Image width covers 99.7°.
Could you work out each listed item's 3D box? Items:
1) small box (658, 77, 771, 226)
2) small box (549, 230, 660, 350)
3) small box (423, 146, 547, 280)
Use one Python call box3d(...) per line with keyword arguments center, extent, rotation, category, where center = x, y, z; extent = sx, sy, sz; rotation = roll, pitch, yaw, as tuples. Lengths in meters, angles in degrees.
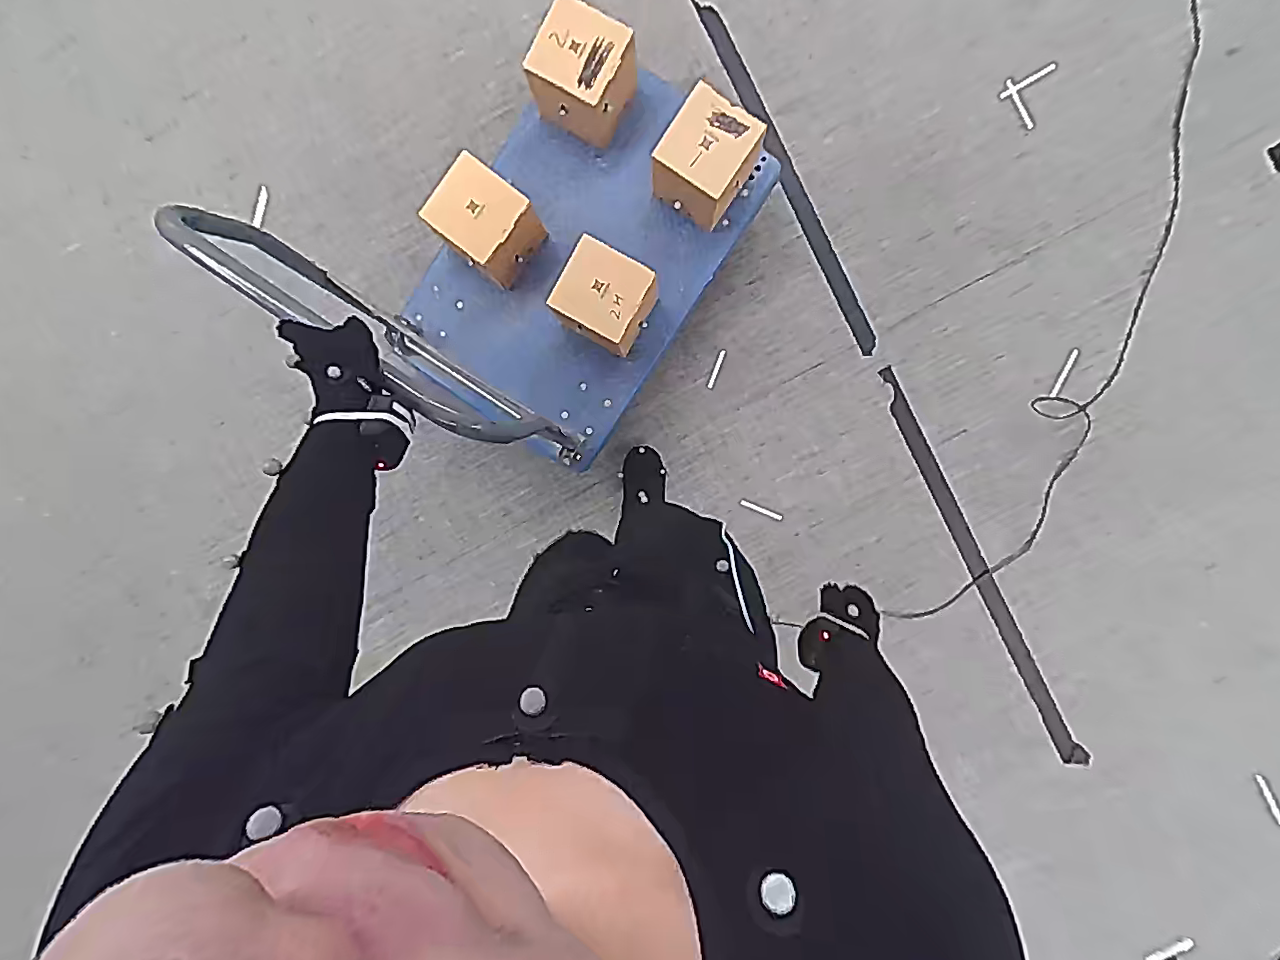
box3d(center=(0.150, -0.689, 1.156), extent=(0.168, 0.176, 0.179), rotation=(35, 95, 0), category="small box")
box3d(center=(-0.070, -0.402, 1.182), extent=(0.179, 0.176, 0.168), rotation=(30, 94, 1), category="small box")
box3d(center=(-0.329, -0.570, 1.185), extent=(0.179, 0.176, 0.168), rotation=(37, 94, -1), category="small box")
